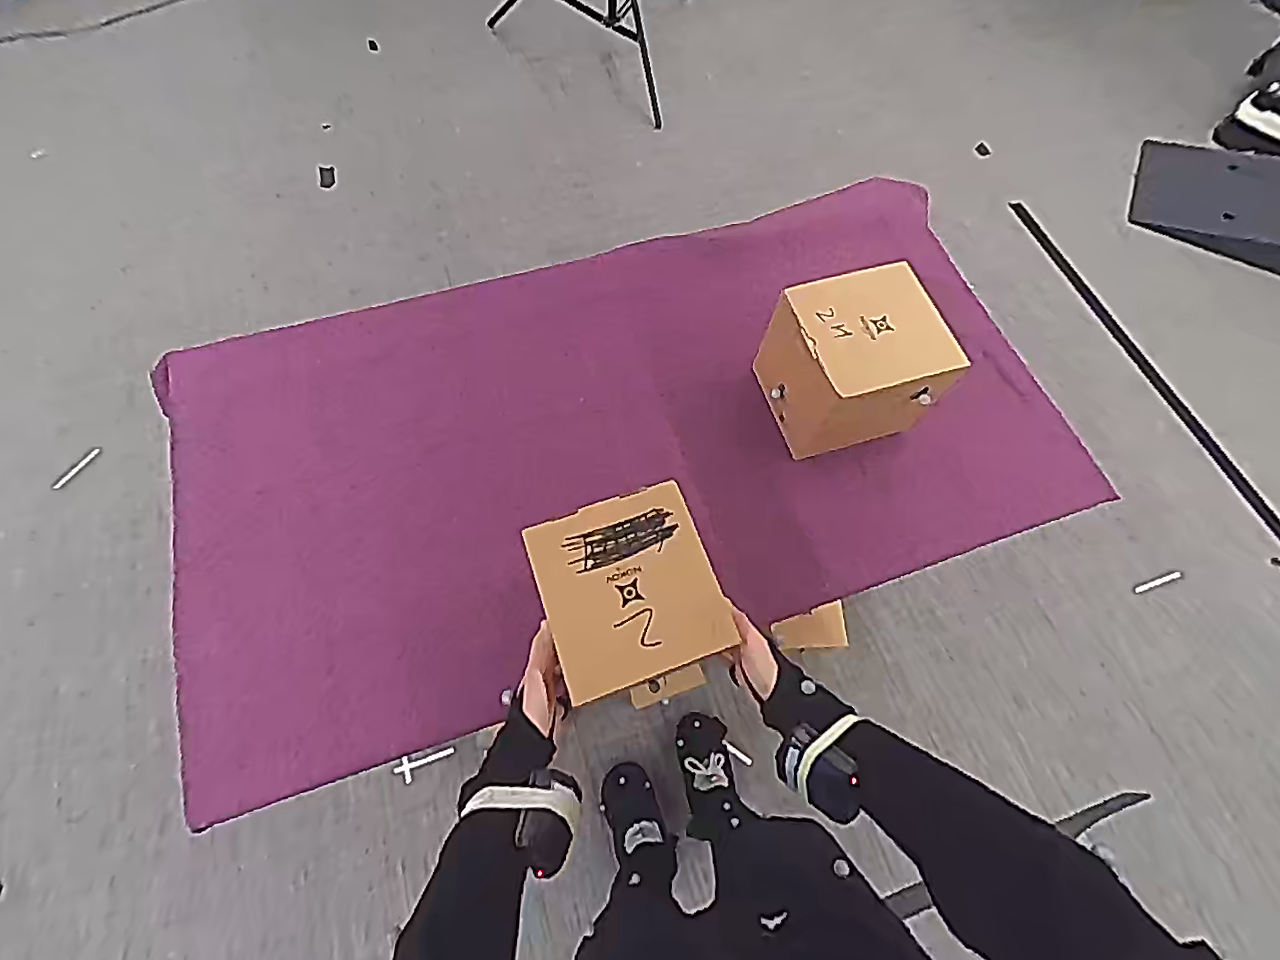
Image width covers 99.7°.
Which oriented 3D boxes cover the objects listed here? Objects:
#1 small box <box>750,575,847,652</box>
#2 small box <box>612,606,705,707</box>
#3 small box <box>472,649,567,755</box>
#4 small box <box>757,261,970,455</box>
[{"bbox_3d":[0.378,0.327,1.317,0.179,0.176,0.168,-1,69,-1],"label":"small box"},{"bbox_3d":[0.034,0.416,1.265,0.168,0.176,0.179,-18,71,-9],"label":"small box"},{"bbox_3d":[-0.267,0.501,1.220,0.168,0.176,0.179,-15,68,-8],"label":"small box"},{"bbox_3d":[0.278,-0.154,0.719,0.179,0.176,0.168,-15,68,-8],"label":"small box"}]
